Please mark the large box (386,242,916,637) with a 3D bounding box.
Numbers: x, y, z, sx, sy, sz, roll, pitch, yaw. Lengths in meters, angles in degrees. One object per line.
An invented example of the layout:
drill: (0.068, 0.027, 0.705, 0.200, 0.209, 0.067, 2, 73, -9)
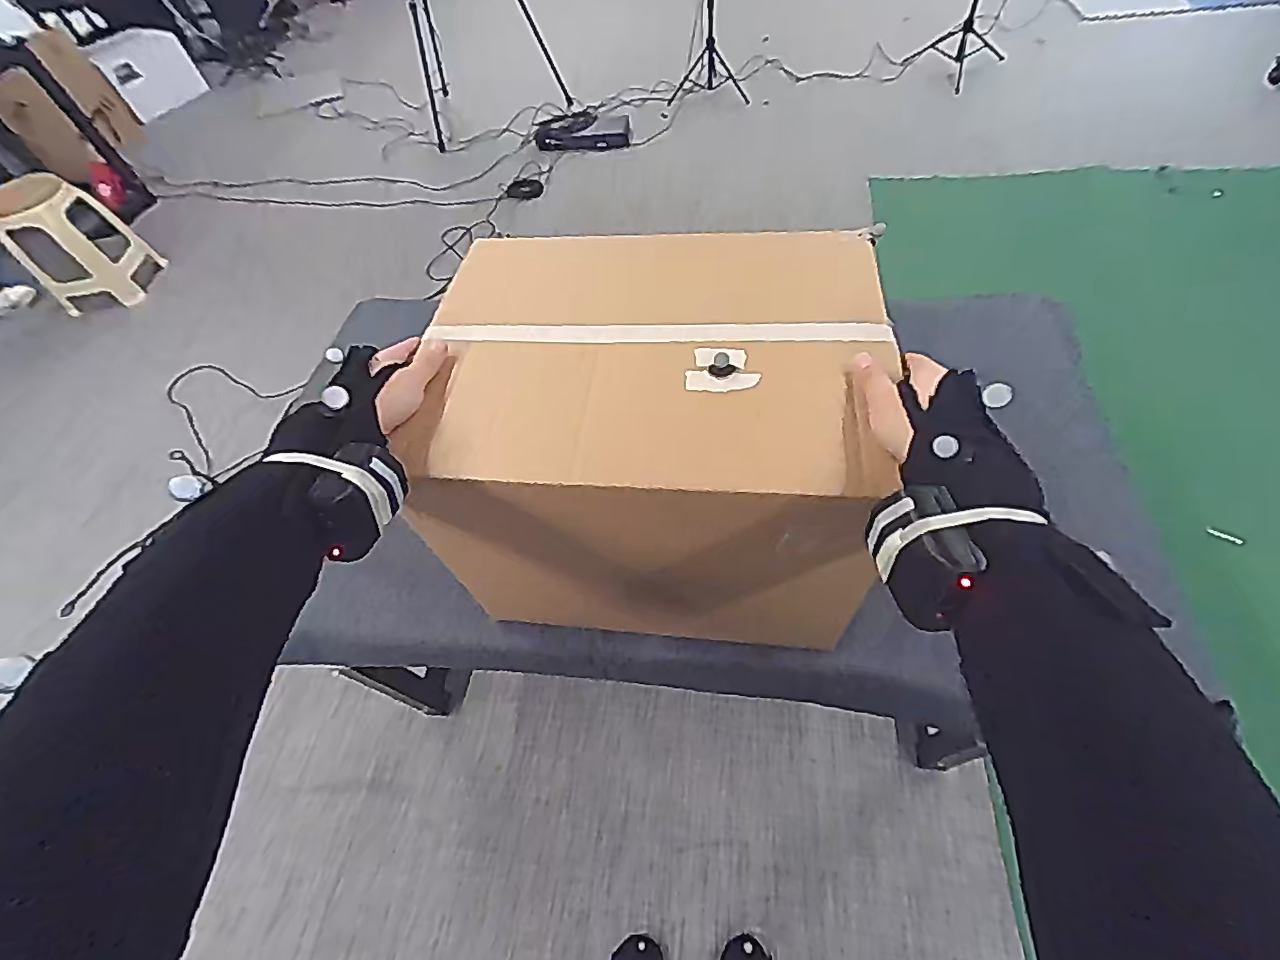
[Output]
large box: (0.022, -0.036, 0.601, 0.408, 0.320, 0.320, 3, 55, 8)
